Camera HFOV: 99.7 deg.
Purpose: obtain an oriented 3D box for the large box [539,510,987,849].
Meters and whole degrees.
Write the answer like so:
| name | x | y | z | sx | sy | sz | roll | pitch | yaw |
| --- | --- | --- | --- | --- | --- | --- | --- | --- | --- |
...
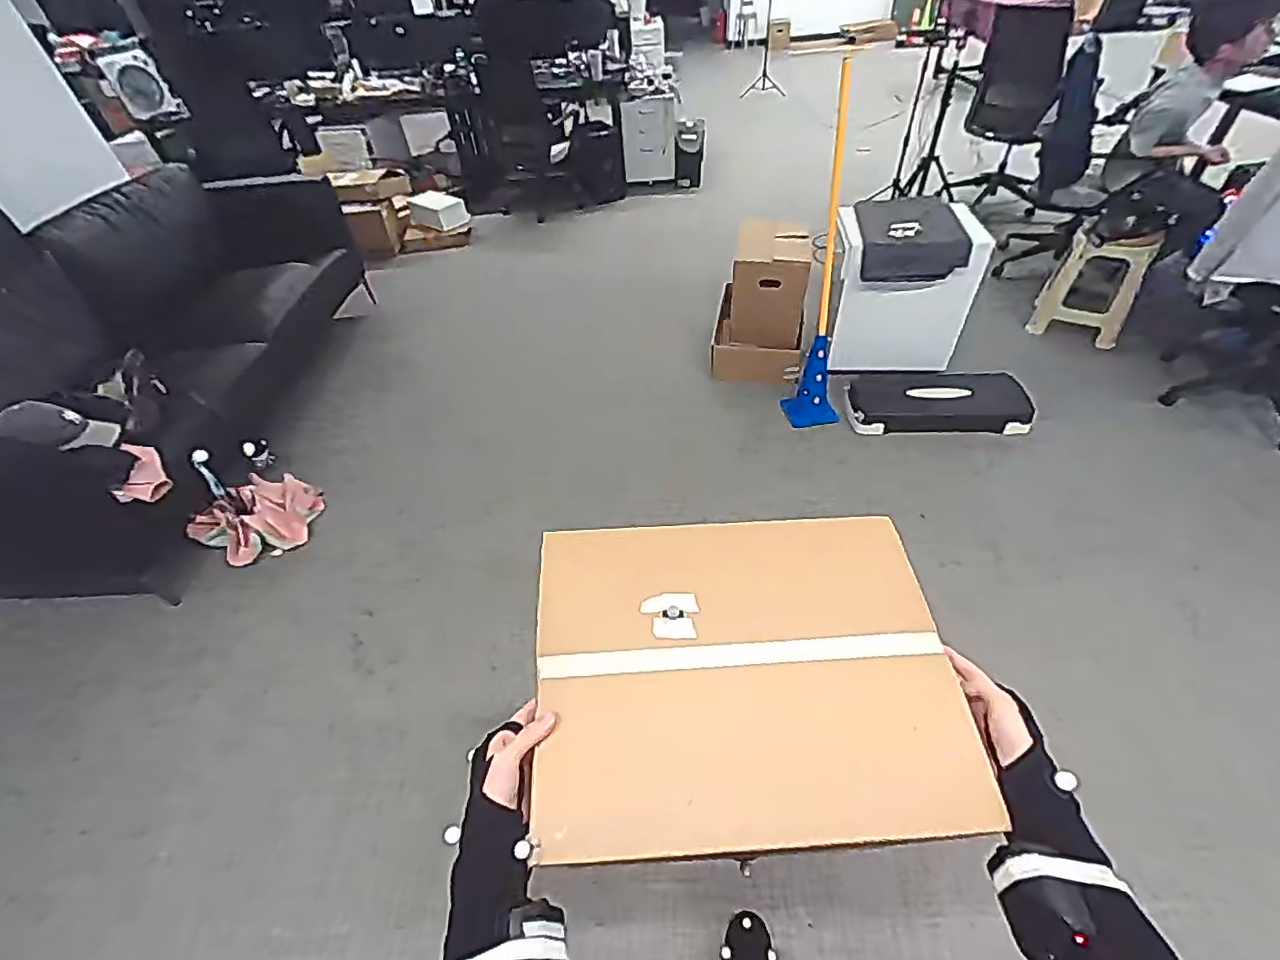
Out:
| name | x | y | z | sx | sy | sz | roll | pitch | yaw |
| --- | --- | --- | --- | --- | --- | --- | --- | --- | --- |
| large box | 0.103 | 0.258 | 0.675 | 0.408 | 0.320 | 0.320 | -3 | 54 | -2 |
